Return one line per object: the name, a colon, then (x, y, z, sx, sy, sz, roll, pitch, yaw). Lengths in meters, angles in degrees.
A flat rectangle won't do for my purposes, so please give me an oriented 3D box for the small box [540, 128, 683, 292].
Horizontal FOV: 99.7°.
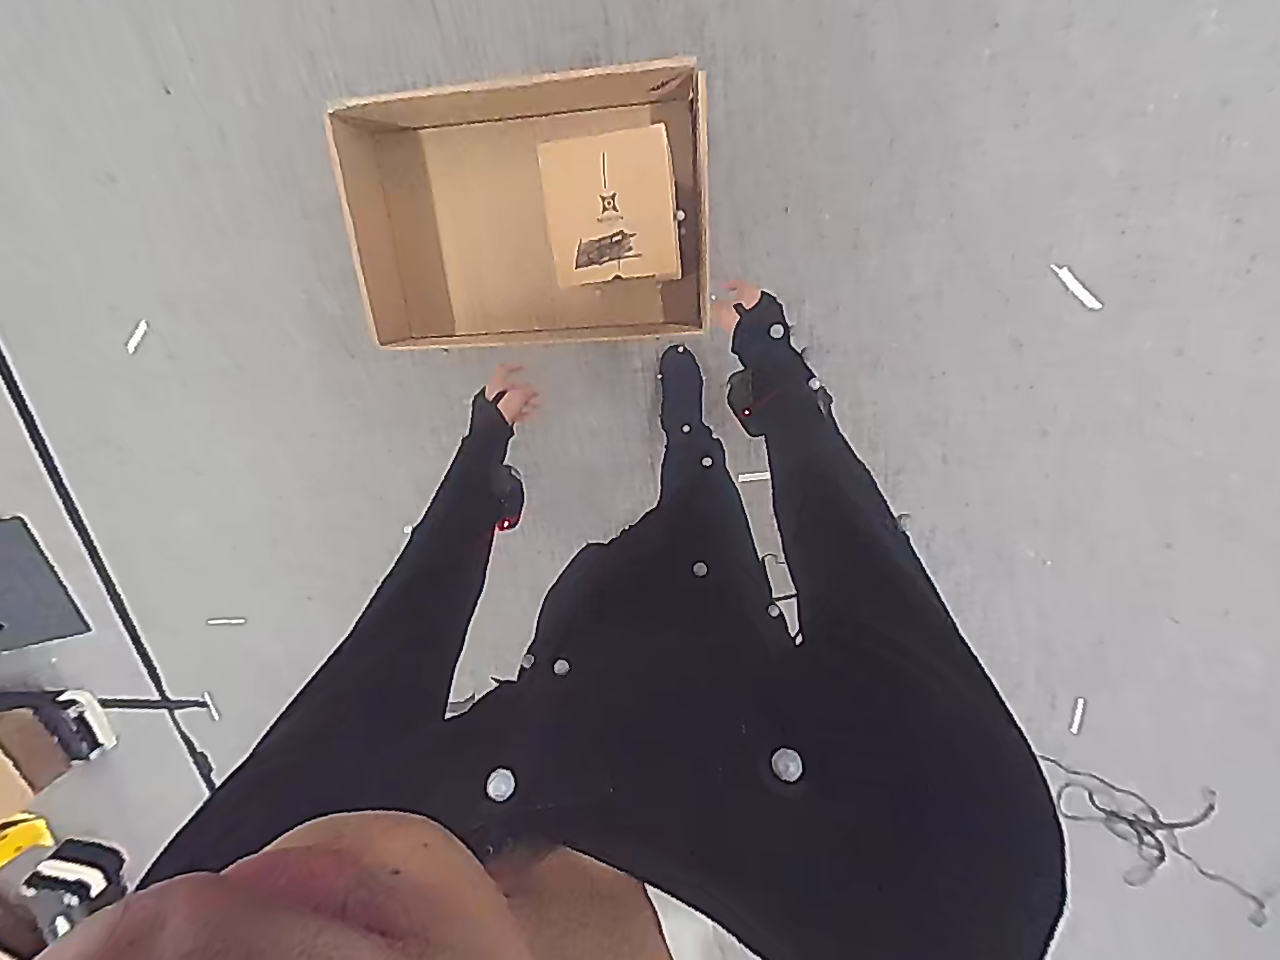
small box: (-0.028, -0.371, 0.770, 0.168, 0.176, 0.179, -5, 109, 7)
